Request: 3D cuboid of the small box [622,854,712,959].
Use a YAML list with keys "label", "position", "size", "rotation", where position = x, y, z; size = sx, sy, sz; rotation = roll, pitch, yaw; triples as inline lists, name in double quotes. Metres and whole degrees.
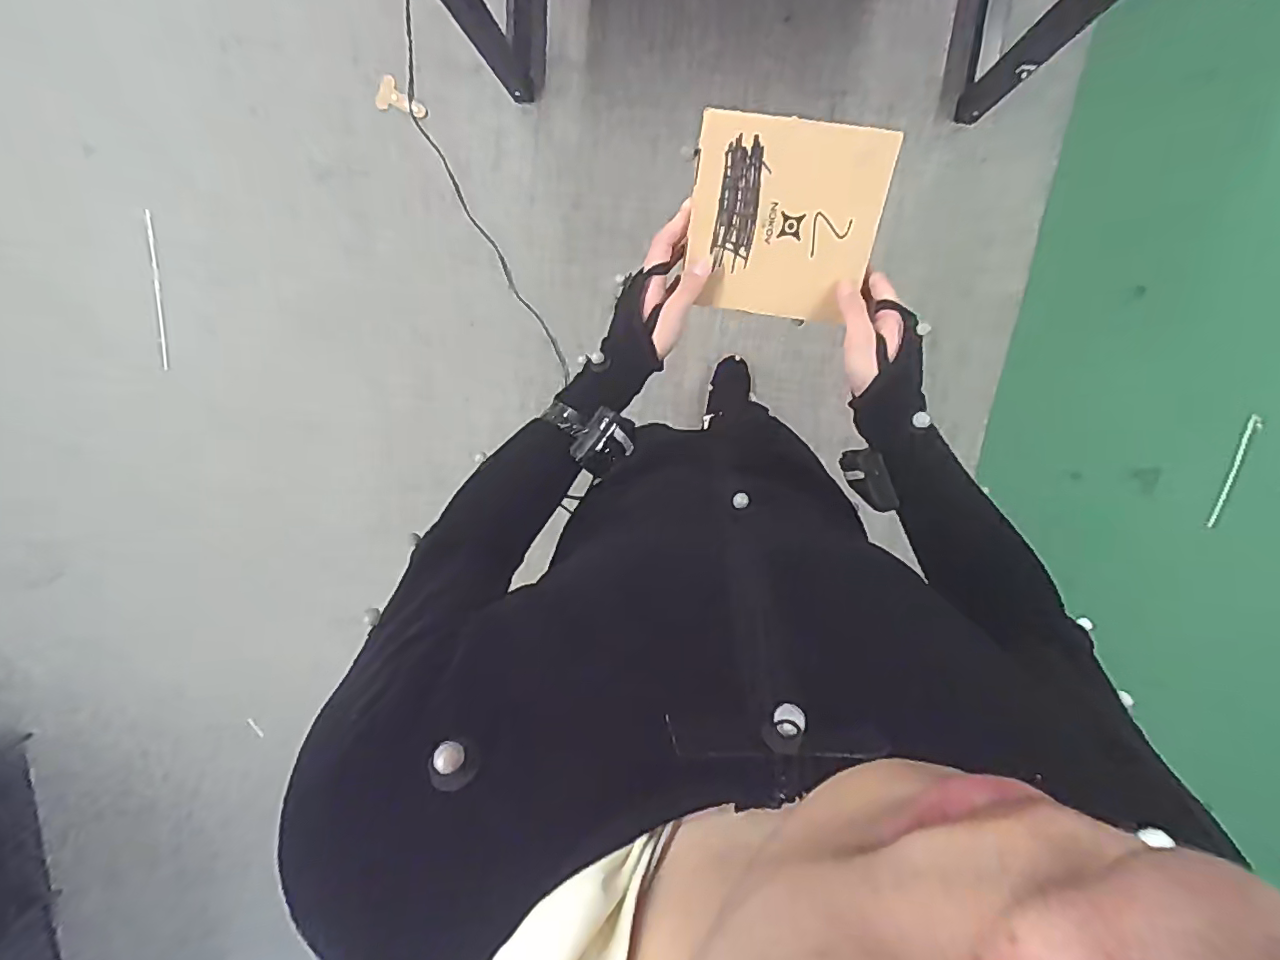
- label: "small box"
  position: [0.059, 0.974, 1.183]
  size: [0.168, 0.176, 0.179]
  rotation: [11, 104, 2]
